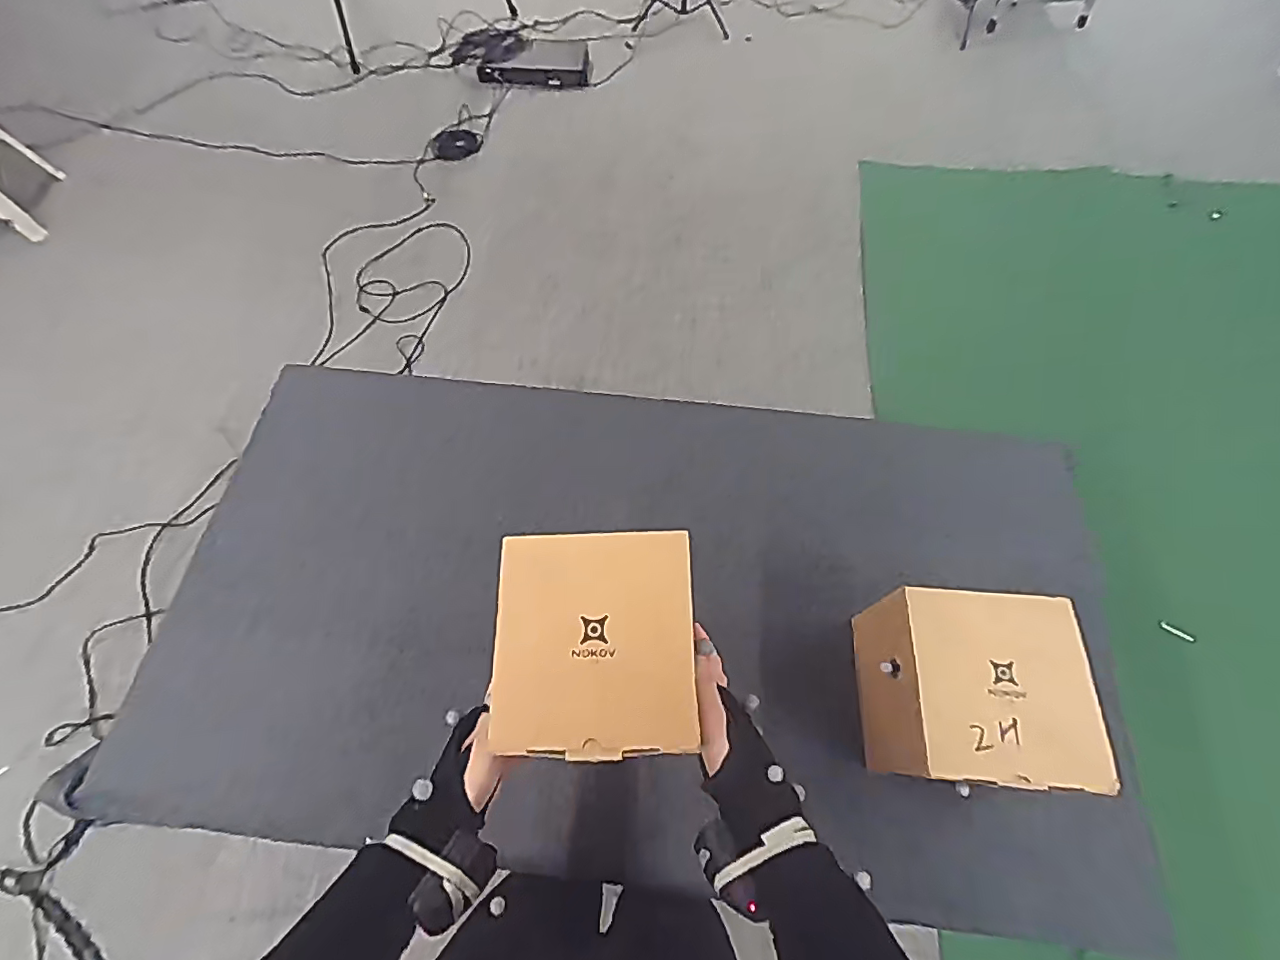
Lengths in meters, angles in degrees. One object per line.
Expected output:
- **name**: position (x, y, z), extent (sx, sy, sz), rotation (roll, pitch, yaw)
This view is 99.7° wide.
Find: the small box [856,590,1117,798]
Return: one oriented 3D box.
- **small box**: position (0.345, 0.230, 0.584), extent (0.168, 0.176, 0.179), rotation (3, 65, 5)
